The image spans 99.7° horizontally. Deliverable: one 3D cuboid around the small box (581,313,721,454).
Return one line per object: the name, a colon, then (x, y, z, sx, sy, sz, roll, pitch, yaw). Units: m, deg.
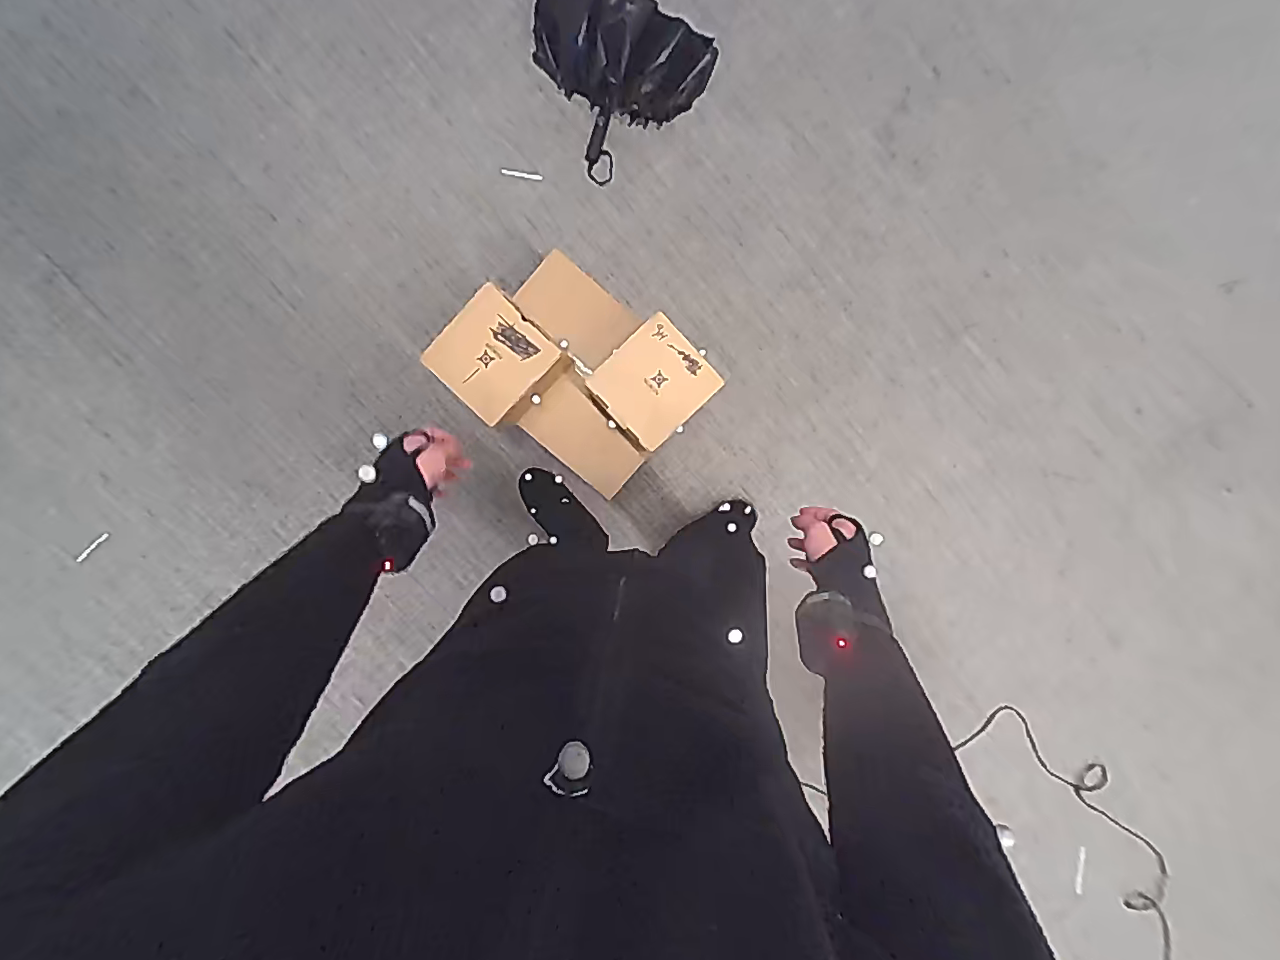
small box: (0.017, -0.163, 0.970, 0.179, 0.176, 0.168, -43, 95, 0)

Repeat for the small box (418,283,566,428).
small box: (-0.246, -0.210, 0.954, 0.179, 0.176, 0.168, -44, 95, 4)
